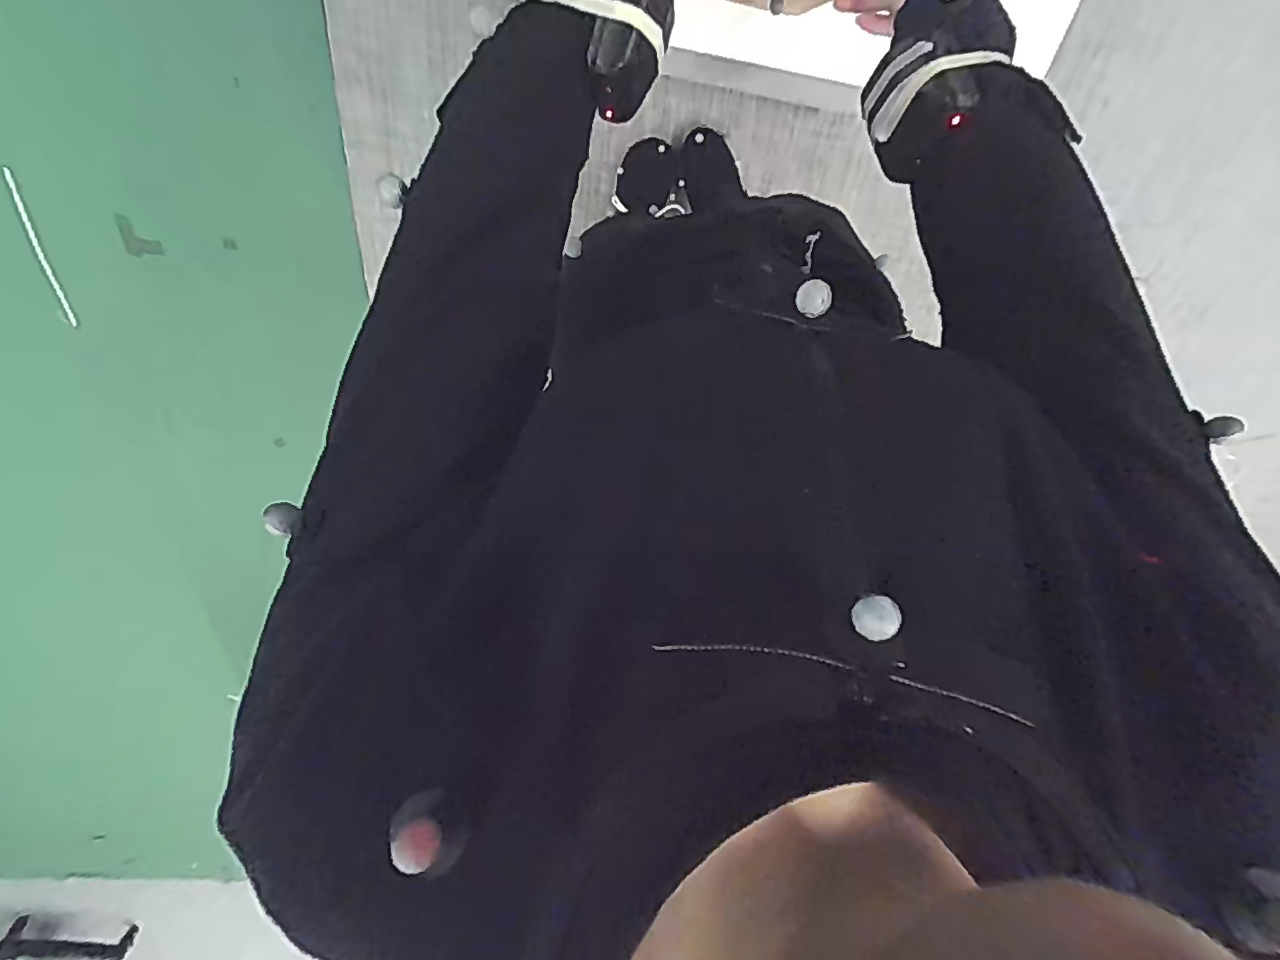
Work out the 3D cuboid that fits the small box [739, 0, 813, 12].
[{"bbox_3d":[0.090,-0.476,0.393,0.168,0.176,0.179,4,123,-9],"label":"small box"}]
